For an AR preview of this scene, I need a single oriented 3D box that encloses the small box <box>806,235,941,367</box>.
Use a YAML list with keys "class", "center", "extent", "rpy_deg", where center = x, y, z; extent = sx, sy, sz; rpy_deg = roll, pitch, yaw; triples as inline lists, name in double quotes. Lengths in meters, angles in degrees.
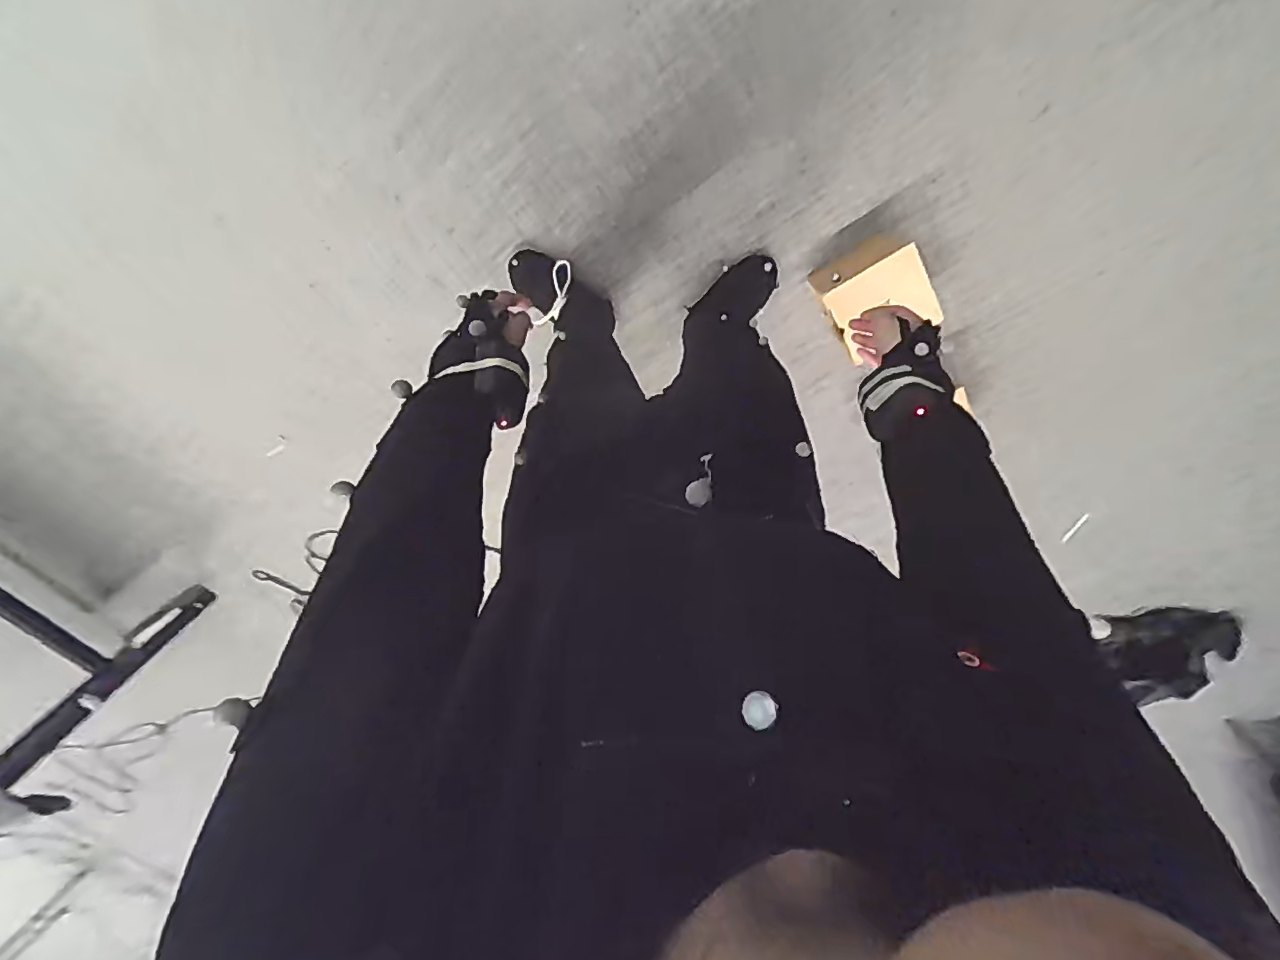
- class: "small box"
  center: [0.453, -0.360, 1.072]
  extent: [0.179, 0.176, 0.168]
  rpy_deg: [-28, 114, 21]
